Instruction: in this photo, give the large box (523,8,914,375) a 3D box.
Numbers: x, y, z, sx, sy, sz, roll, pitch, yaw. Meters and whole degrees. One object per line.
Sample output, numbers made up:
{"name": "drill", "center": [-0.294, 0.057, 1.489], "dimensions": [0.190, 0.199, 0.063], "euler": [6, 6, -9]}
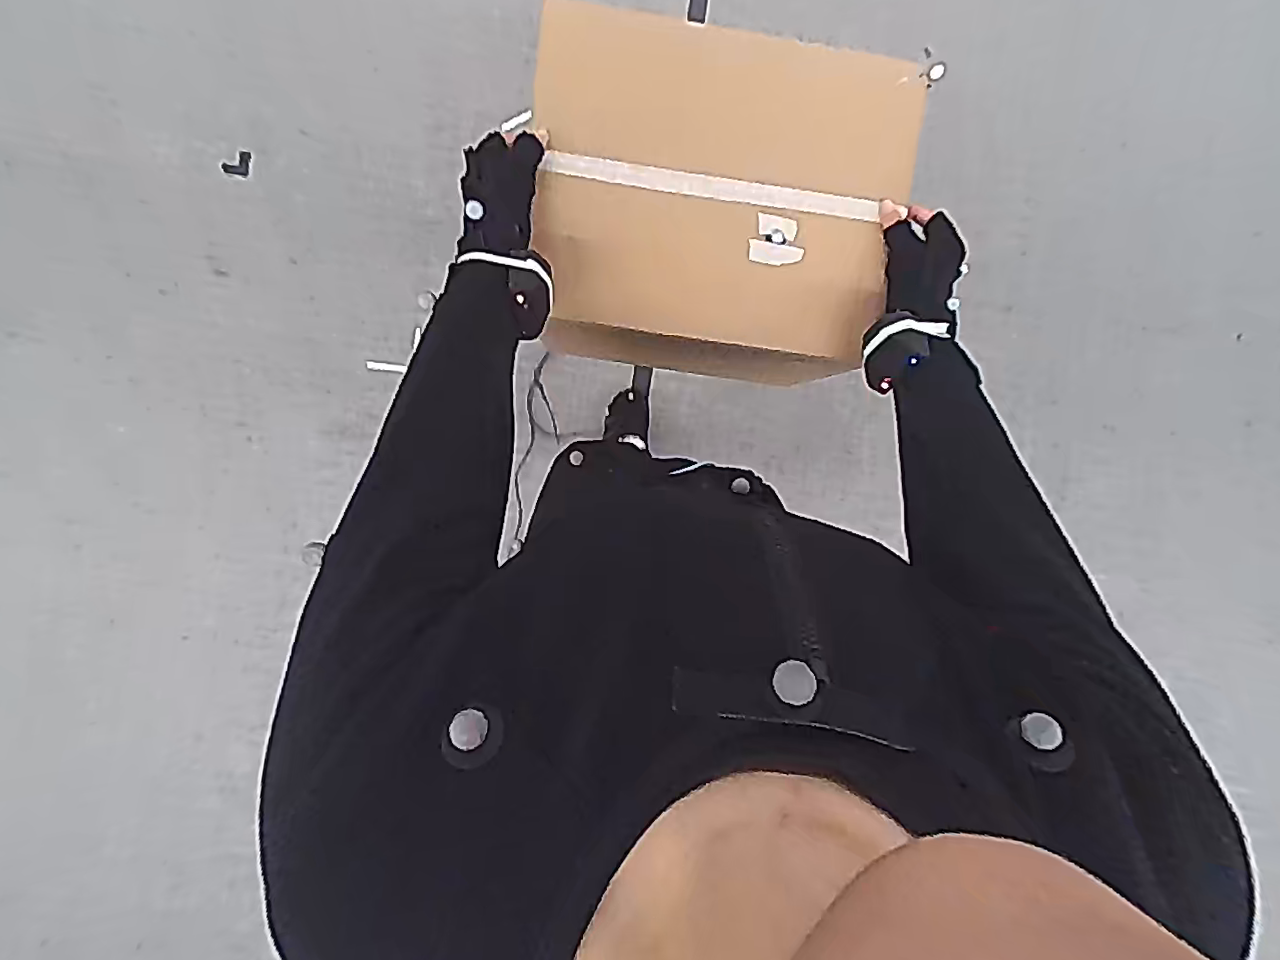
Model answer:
{"name": "large box", "center": [0.075, -0.332, 0.730], "dimensions": [0.408, 0.320, 0.320], "euler": [7, 96, -4]}
